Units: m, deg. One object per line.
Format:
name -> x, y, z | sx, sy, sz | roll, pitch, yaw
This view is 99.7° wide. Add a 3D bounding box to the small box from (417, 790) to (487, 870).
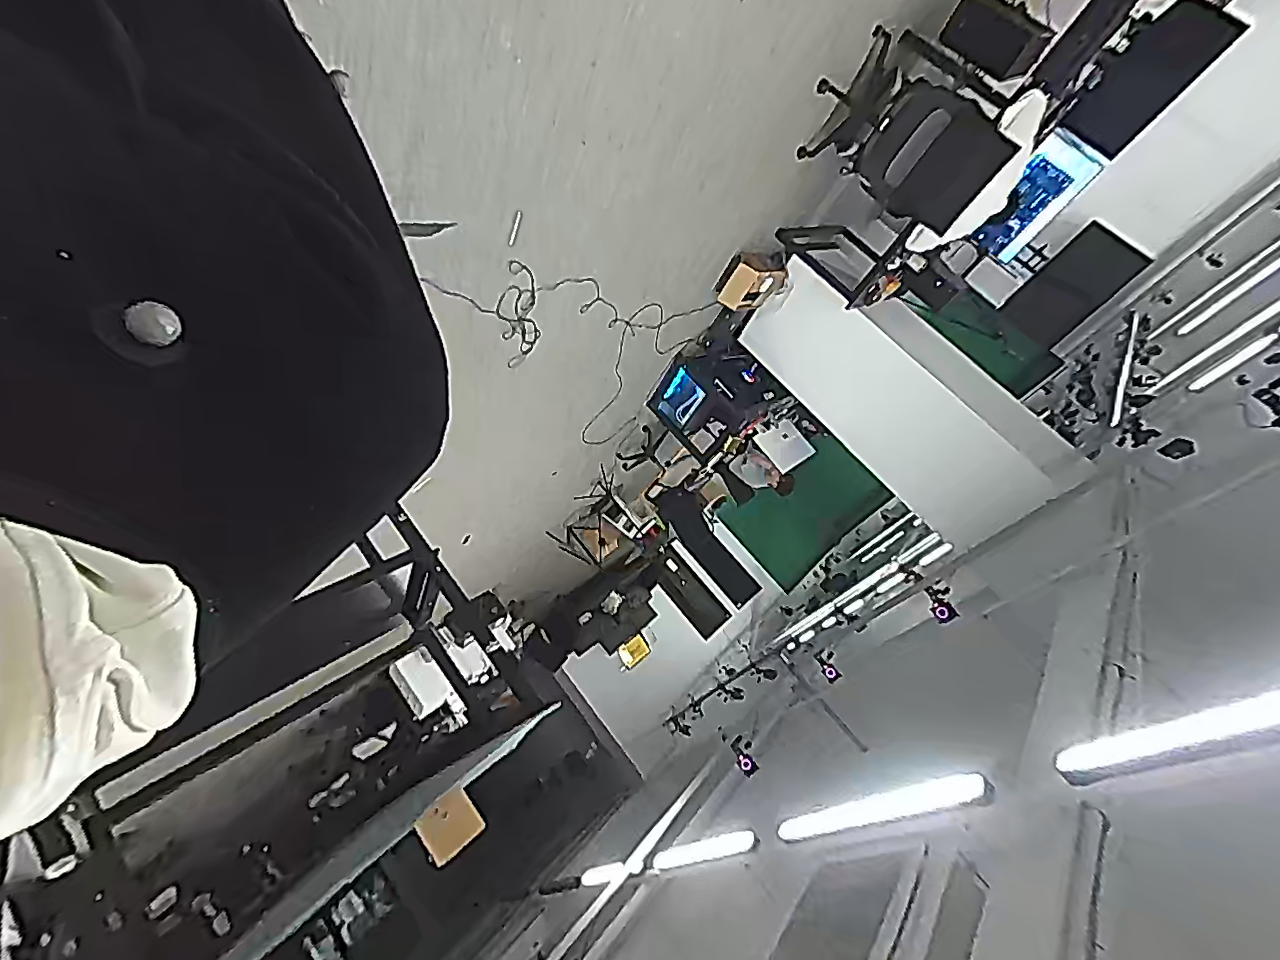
small box -> -0.669, 1.234, 1.910 | 0.168, 0.176, 0.179 | -29, 160, -40
